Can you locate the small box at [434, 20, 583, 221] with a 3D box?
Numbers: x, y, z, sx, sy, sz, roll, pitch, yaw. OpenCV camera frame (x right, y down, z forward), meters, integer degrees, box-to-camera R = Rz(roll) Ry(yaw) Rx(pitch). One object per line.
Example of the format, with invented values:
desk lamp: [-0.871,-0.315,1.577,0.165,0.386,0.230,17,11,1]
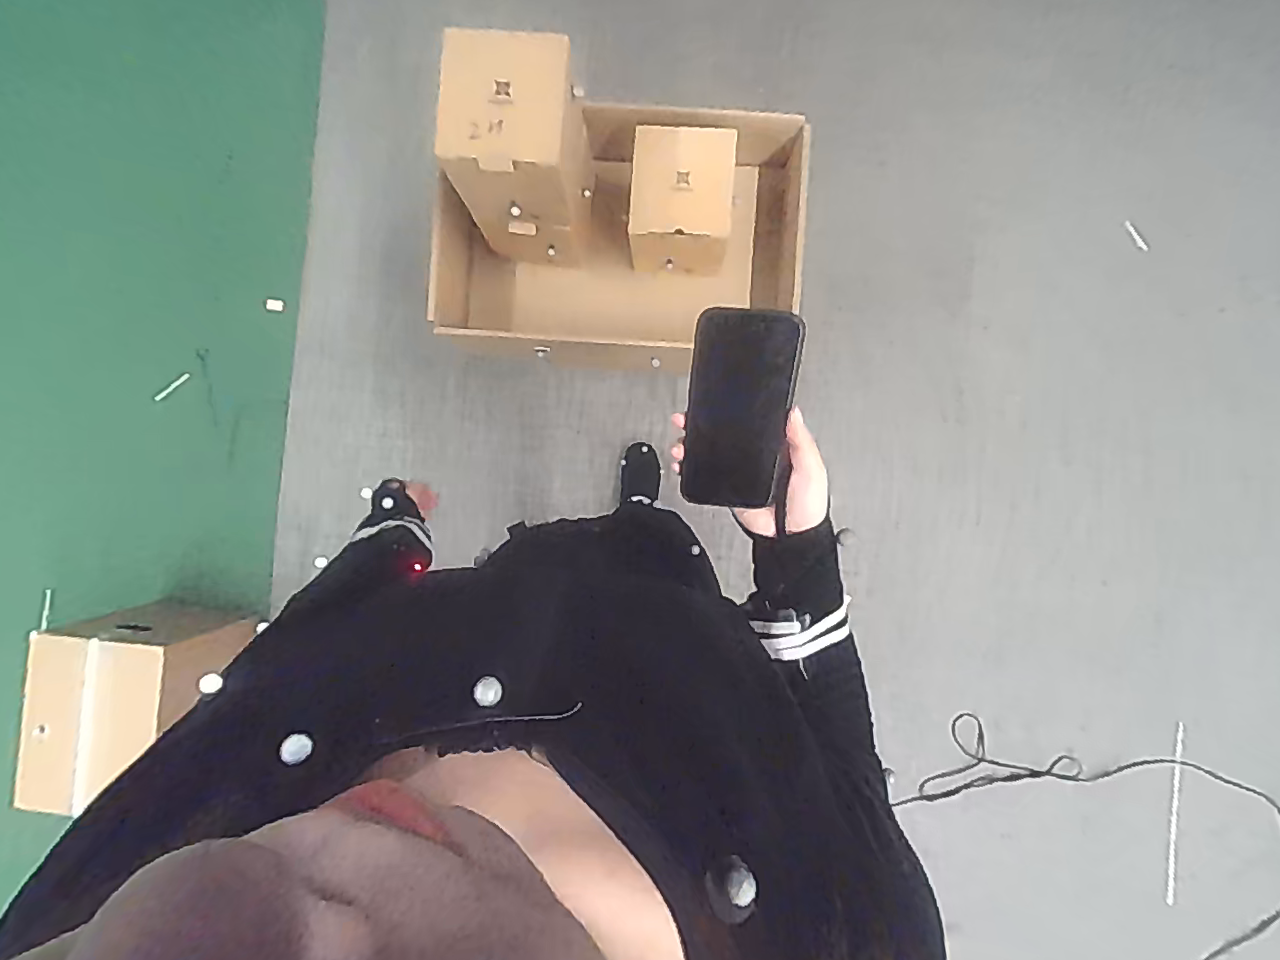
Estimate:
small box: [-0.178,-0.506,0.783,0.168,0.176,0.179,5,90,1]

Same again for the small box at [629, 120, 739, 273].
small box: [0.073,-0.482,0.940,0.168,0.176,0.179,4,91,3]
